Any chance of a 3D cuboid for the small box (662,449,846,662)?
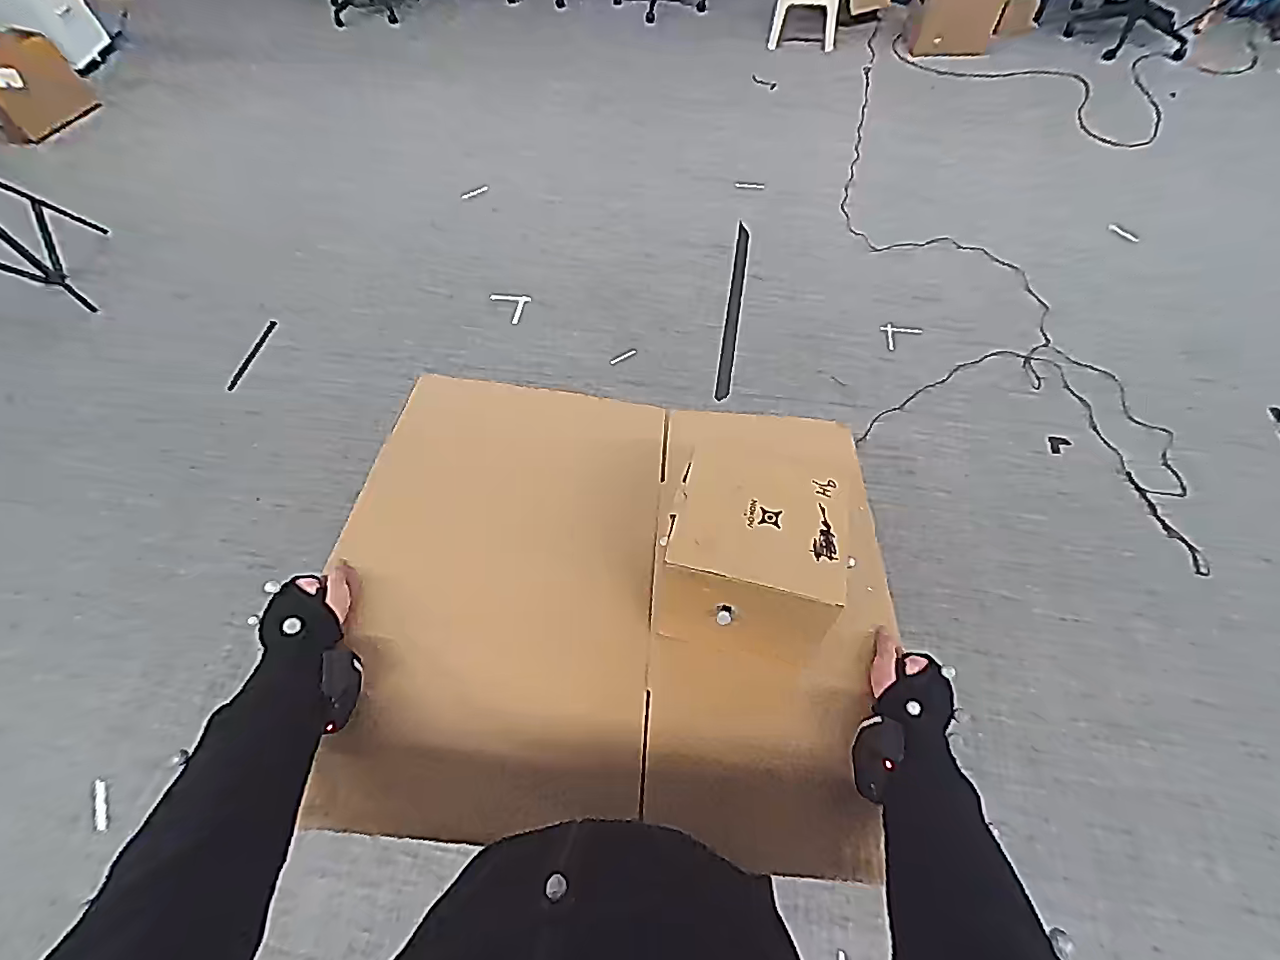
[{"bbox_3d":[0.126,0.091,0.628,0.179,0.176,0.168,11,52,9],"label":"small box"}]
